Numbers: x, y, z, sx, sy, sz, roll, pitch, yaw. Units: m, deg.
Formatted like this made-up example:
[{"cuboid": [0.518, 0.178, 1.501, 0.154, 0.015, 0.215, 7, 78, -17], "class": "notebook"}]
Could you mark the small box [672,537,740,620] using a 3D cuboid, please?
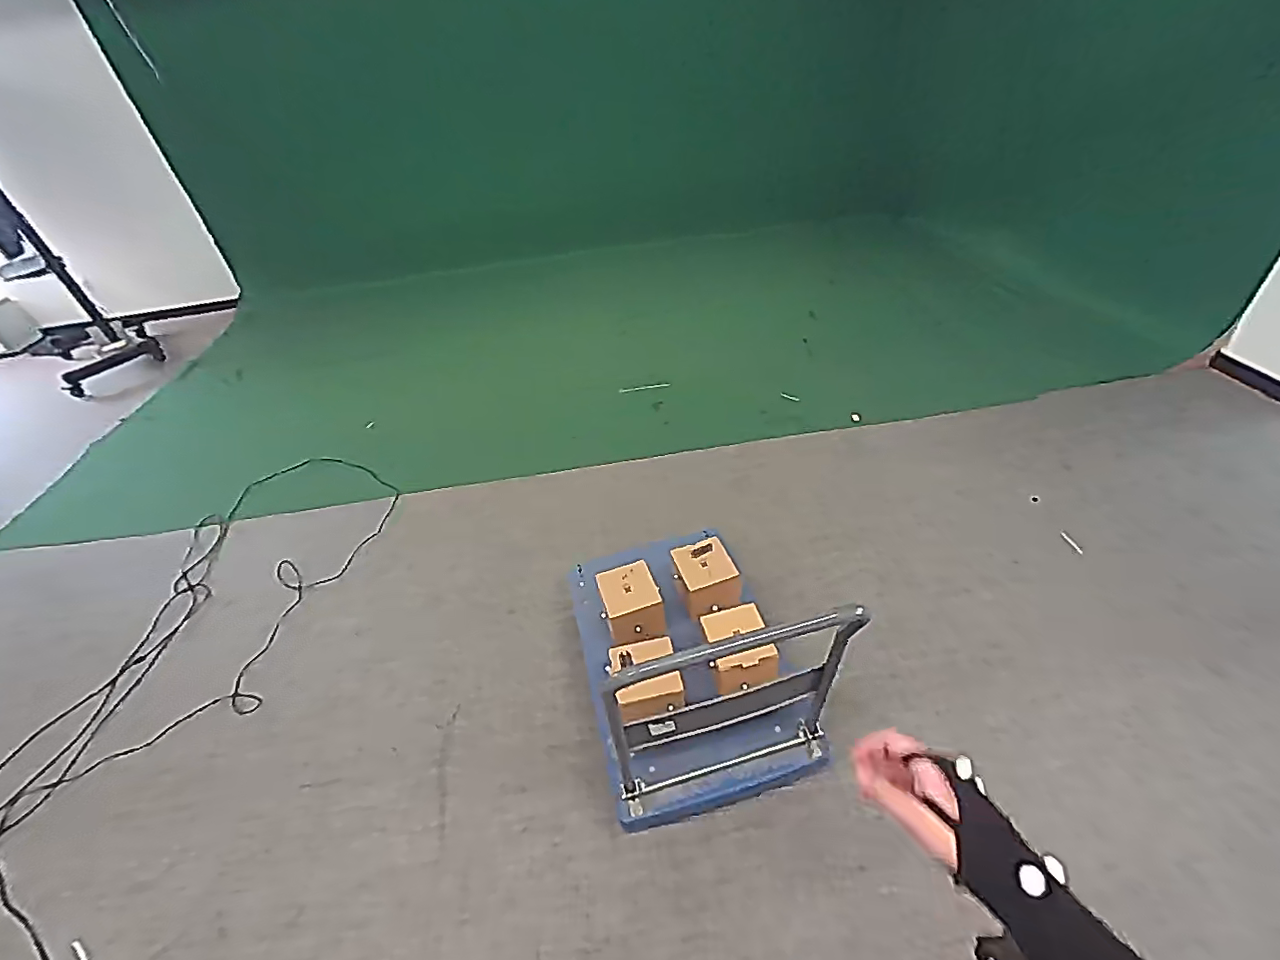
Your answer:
[{"cuboid": [0.212, 0.320, 1.756, 0.168, 0.176, 0.179, -17, 43, -9], "class": "small box"}]

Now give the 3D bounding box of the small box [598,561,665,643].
[{"cuboid": [-0.025, 0.392, 1.712, 0.168, 0.176, 0.179, -16, 42, -11], "class": "small box"}]

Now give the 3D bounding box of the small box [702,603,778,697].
[{"cuboid": [0.282, 0.489, 1.556, 0.168, 0.176, 0.179, -13, 42, -7], "class": "small box"}]
